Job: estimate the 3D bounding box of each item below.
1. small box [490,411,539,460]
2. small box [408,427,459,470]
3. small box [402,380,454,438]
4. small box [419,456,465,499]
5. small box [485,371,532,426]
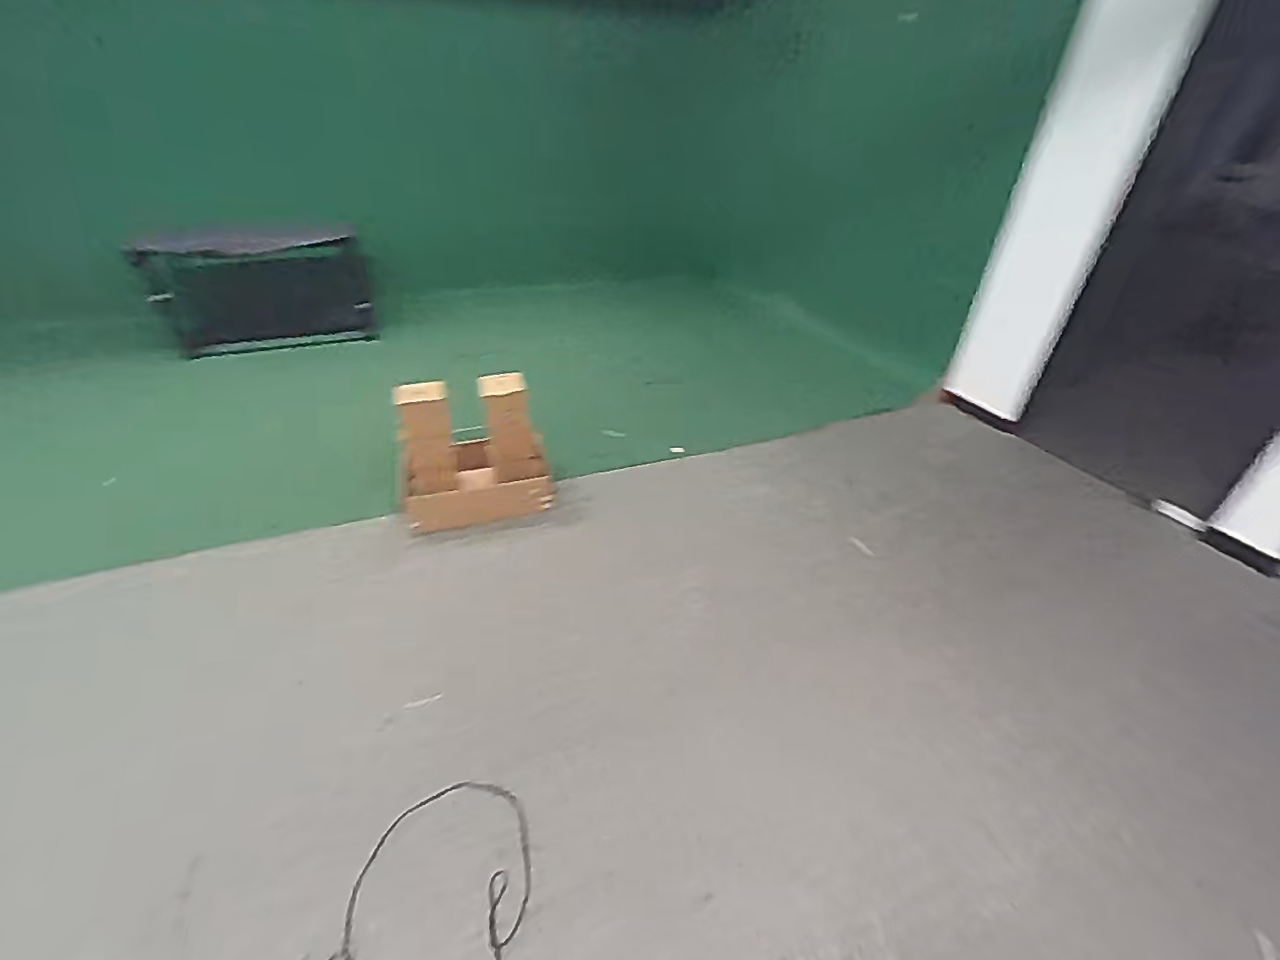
[{"bbox_3d":[-0.553,-0.203,2.381,0.179,0.176,0.168,-12,40,-16],"label":"small box"},{"bbox_3d":[-0.878,-0.155,2.299,0.179,0.176,0.168,-9,38,-17],"label":"small box"},{"bbox_3d":[-0.861,-0.289,2.203,0.179,0.176,0.168,-10,37,-16],"label":"small box"},{"bbox_3d":[-0.882,-0.029,2.404,0.168,0.176,0.179,-10,38,-17],"label":"small box"},{"bbox_3d":[-0.558,-0.339,2.288,0.168,0.176,0.179,-9,40,-13],"label":"small box"}]
